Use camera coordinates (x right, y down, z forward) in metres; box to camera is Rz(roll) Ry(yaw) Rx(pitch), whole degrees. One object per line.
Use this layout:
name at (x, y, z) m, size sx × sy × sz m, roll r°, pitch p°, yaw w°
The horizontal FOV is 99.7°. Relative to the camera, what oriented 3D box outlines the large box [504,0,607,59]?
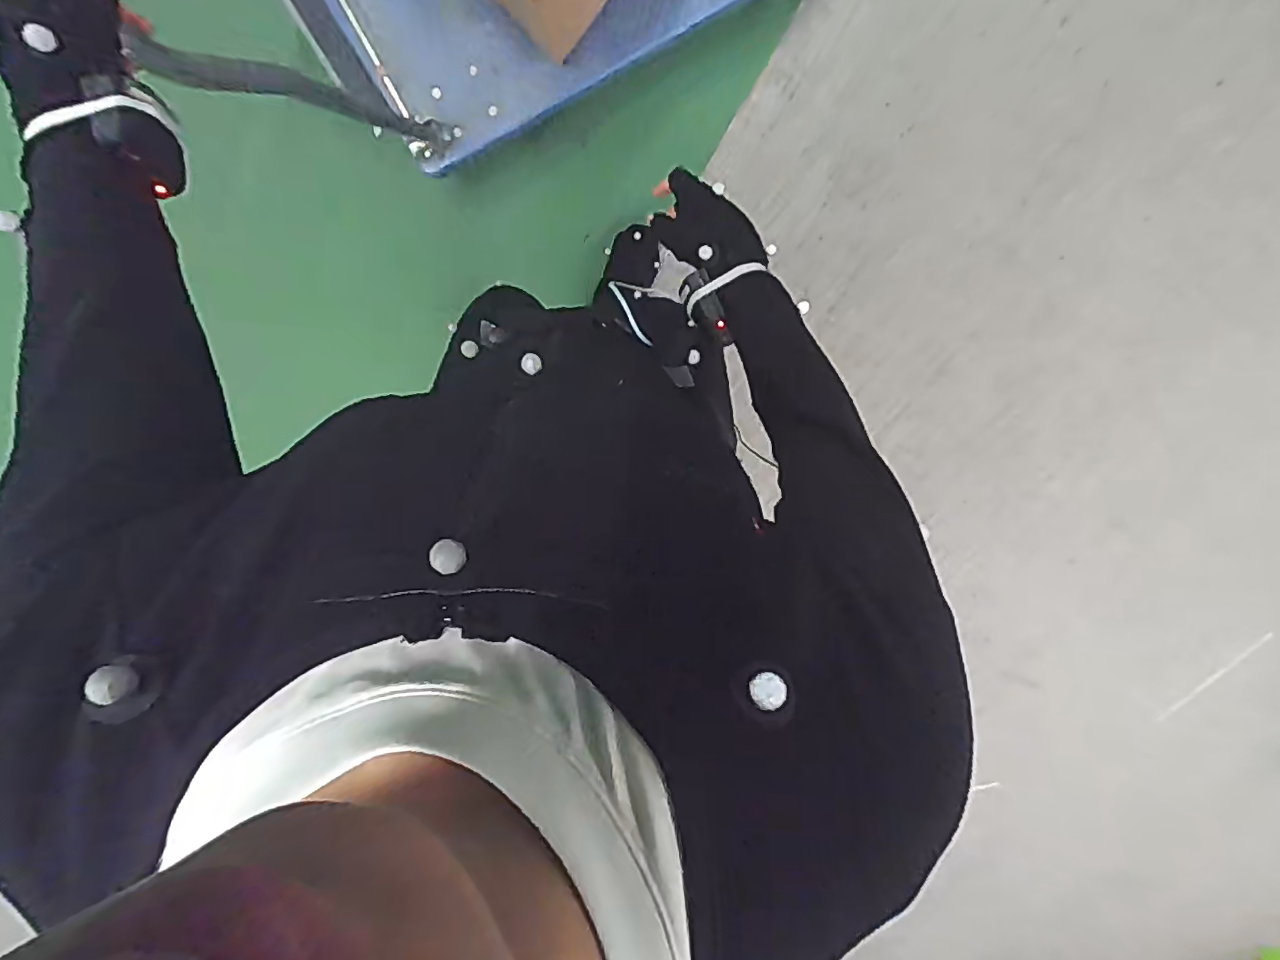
large box at (-0.185, -0.934, 0.769) m, size 0.408 × 0.320 × 0.320 m, roll 40°, pitch 107°, yaw -17°
